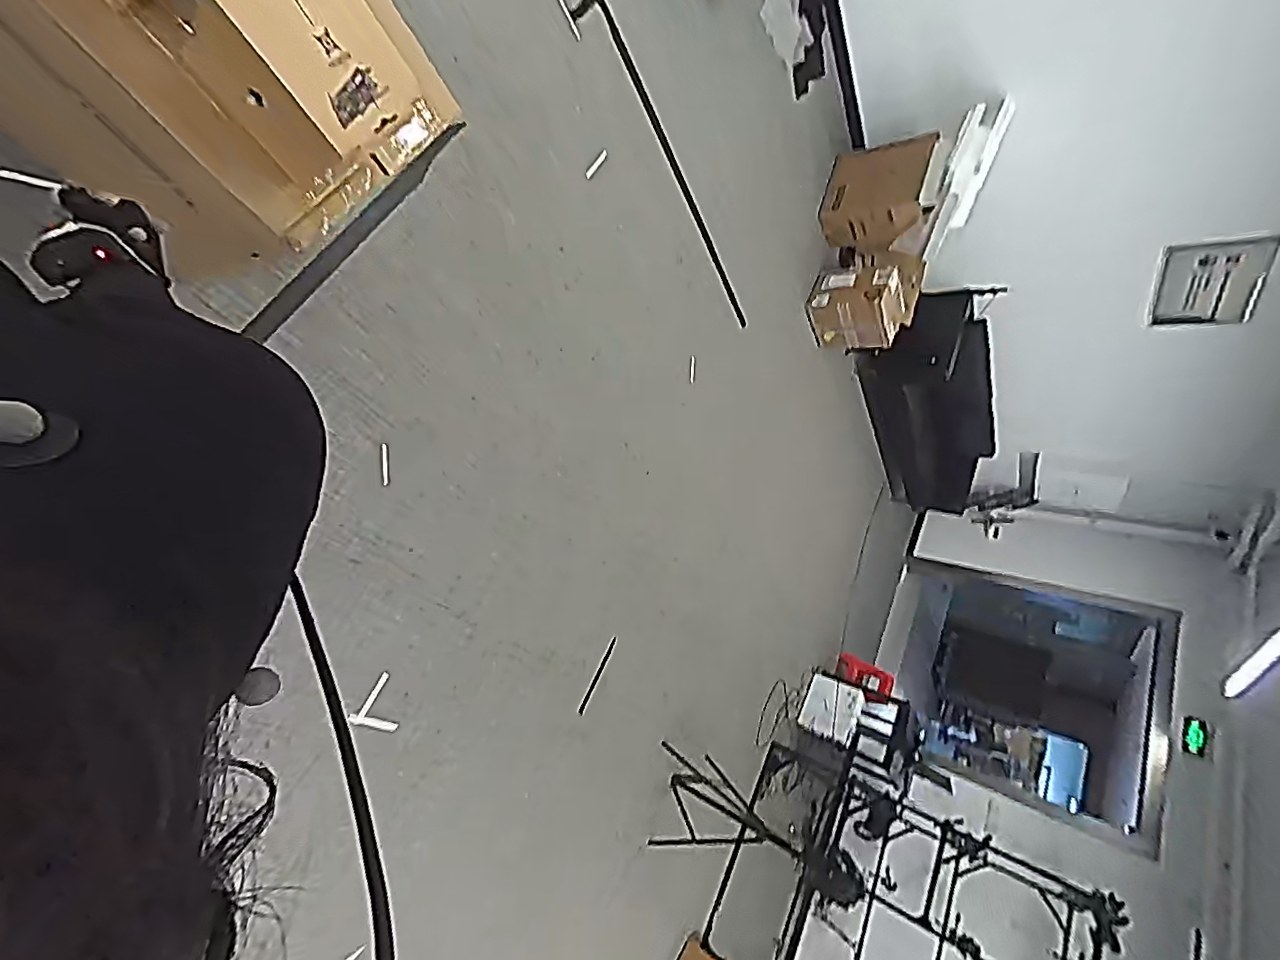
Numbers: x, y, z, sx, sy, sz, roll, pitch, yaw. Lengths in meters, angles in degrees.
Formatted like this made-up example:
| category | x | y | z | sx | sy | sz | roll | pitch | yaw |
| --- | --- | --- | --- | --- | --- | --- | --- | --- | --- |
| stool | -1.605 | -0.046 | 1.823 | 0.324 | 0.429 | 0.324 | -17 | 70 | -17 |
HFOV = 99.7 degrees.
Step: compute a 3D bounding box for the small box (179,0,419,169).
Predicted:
| category | x | y | z | sx | sy | sz | roll | pitch | yaw |
| --- | --- | --- | --- | --- | --- | --- | --- | --- | --- |
| small box | -0.437 | -0.533 | 0.700 | 0.168 | 0.176 | 0.179 | -58 | 136 | -24 |
